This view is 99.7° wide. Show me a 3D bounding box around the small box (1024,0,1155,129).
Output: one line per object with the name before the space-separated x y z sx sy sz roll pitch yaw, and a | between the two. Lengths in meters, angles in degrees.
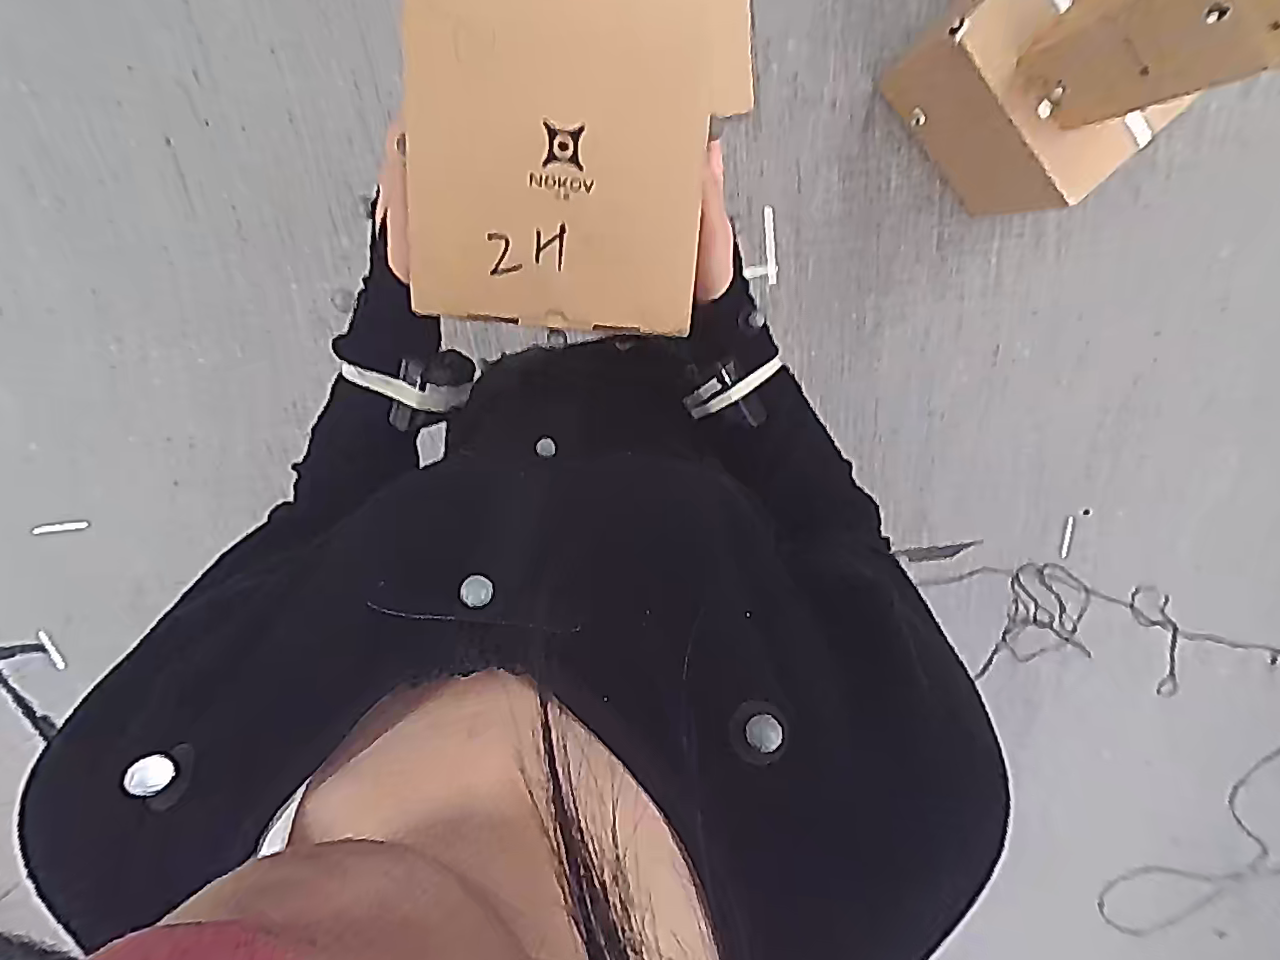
small box | 0.780 -0.712 0.868 0.168 0.176 0.179 40 105 -16

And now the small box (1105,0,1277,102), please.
small box | 0.789 -0.655 0.715 0.168 0.176 0.179 40 104 -16

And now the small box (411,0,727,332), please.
small box | -0.051 -0.201 0.373 0.168 0.176 0.179 3 104 -8
